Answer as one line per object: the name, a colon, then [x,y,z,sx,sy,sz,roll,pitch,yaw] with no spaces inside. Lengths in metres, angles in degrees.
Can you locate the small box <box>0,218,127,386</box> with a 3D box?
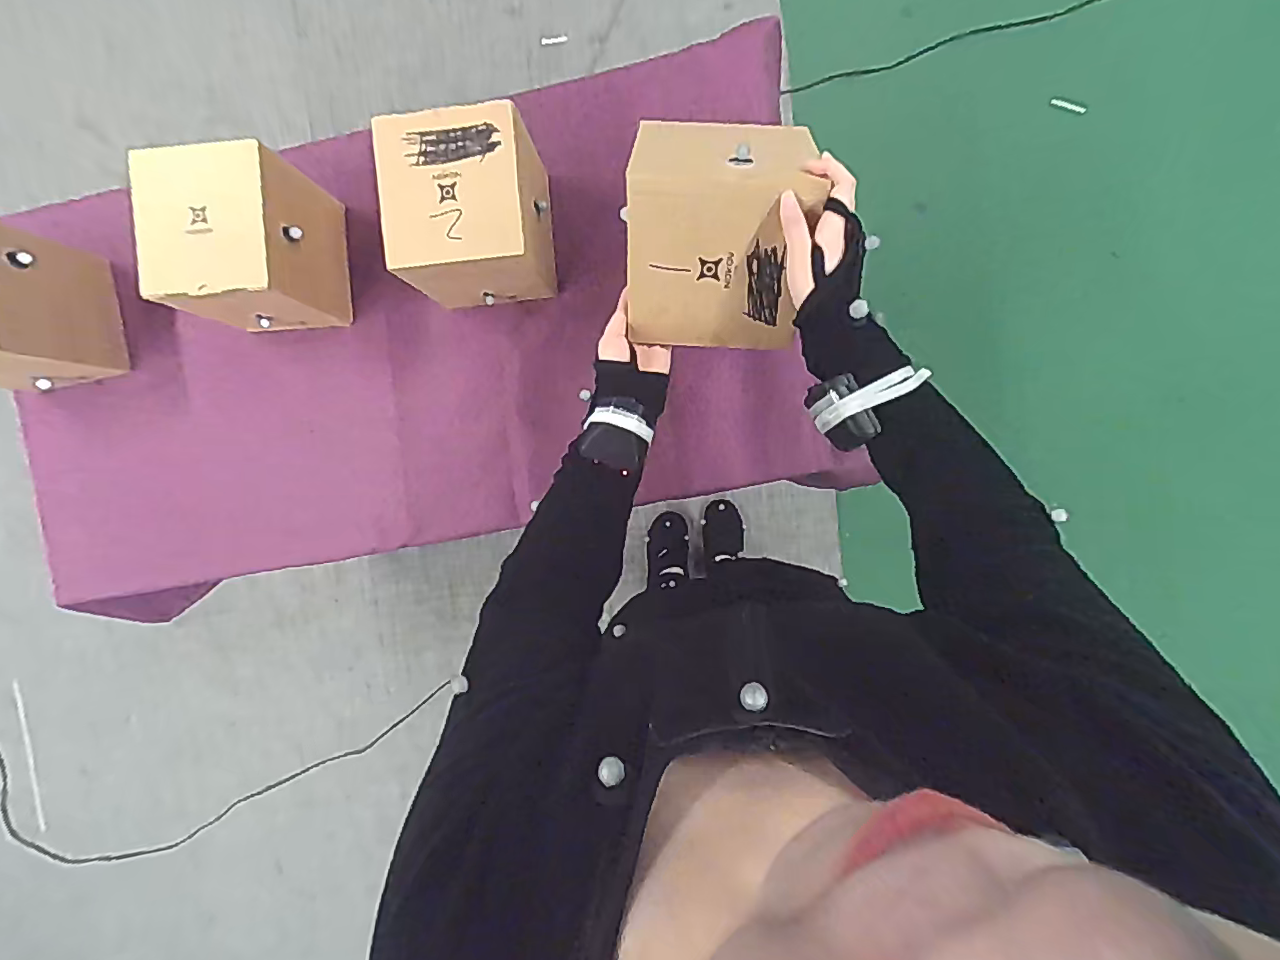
small box: [-0.875,-0.238,0.747,0.168,0.176,0.179,-10,92,5]

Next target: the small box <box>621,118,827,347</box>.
small box: [0.075,-0.259,0.563,0.179,0.176,0.168,4,137,3]

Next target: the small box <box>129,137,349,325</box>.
small box: [-0.517,-0.317,0.720,0.168,0.176,0.179,-2,93,5]
